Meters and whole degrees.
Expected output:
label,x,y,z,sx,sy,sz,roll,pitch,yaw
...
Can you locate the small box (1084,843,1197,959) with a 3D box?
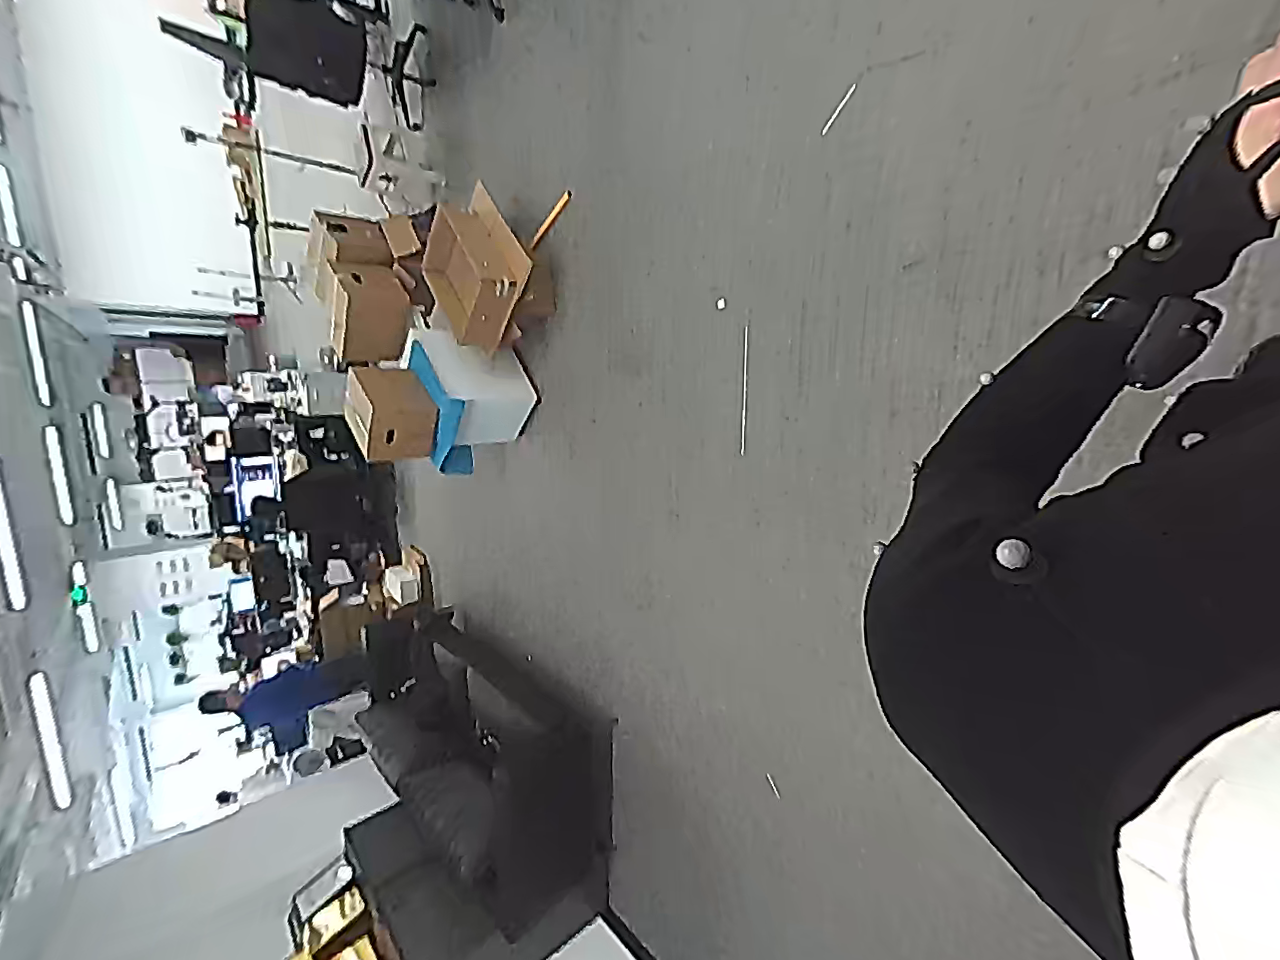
label,x,y,z,sx,sy,sz,roll,pitch,yaw
small box,1.166,1.003,1.259,0.168,0.176,0.179,12,105,47
